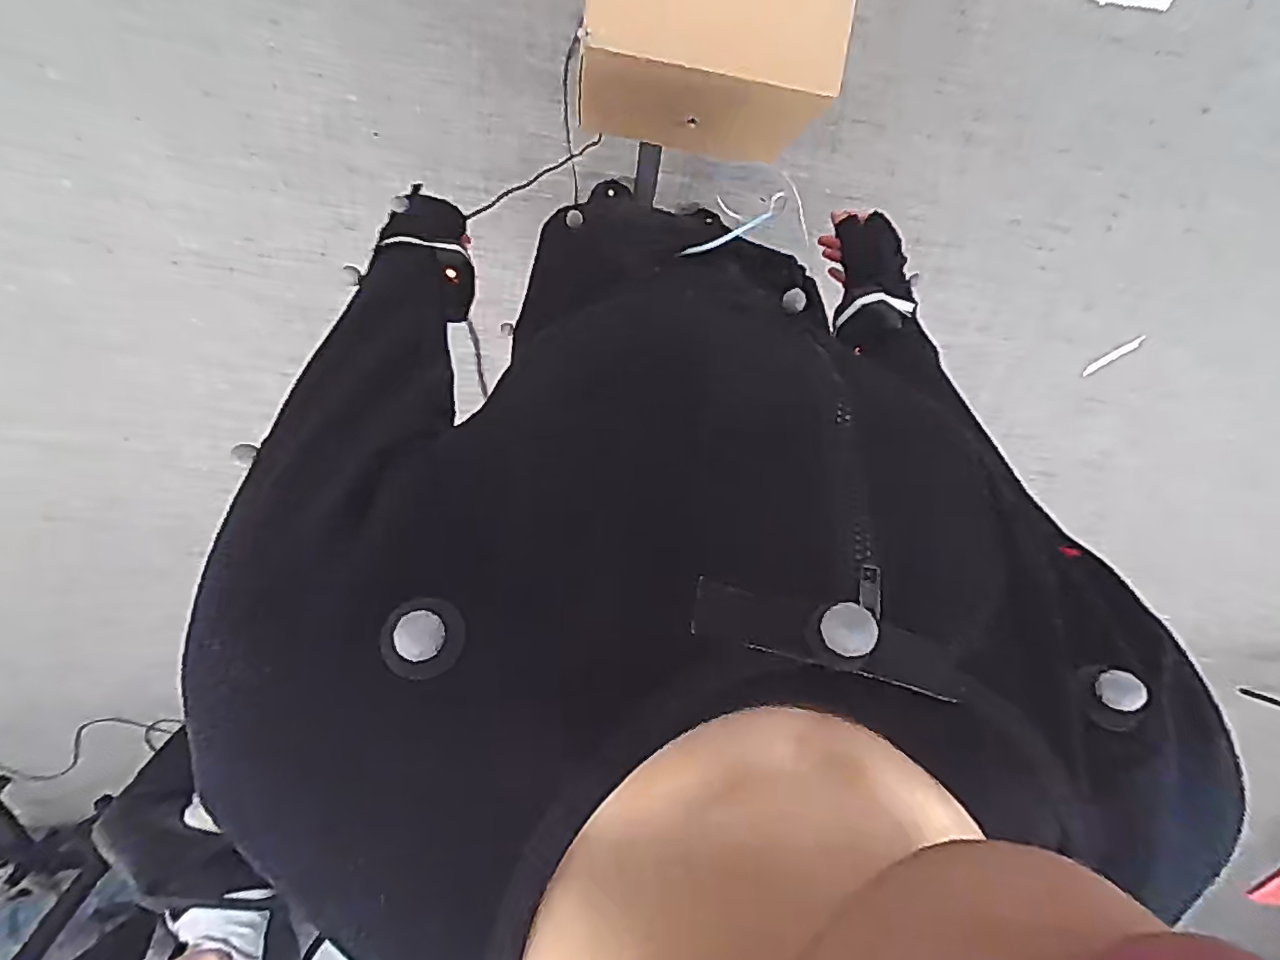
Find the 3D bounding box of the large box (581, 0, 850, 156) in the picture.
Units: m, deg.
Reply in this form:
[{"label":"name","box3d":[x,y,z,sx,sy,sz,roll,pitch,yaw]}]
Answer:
[{"label":"large box","box3d":[0.115,-0.810,0.939,0.408,0.320,0.320,7,101,-8]}]
